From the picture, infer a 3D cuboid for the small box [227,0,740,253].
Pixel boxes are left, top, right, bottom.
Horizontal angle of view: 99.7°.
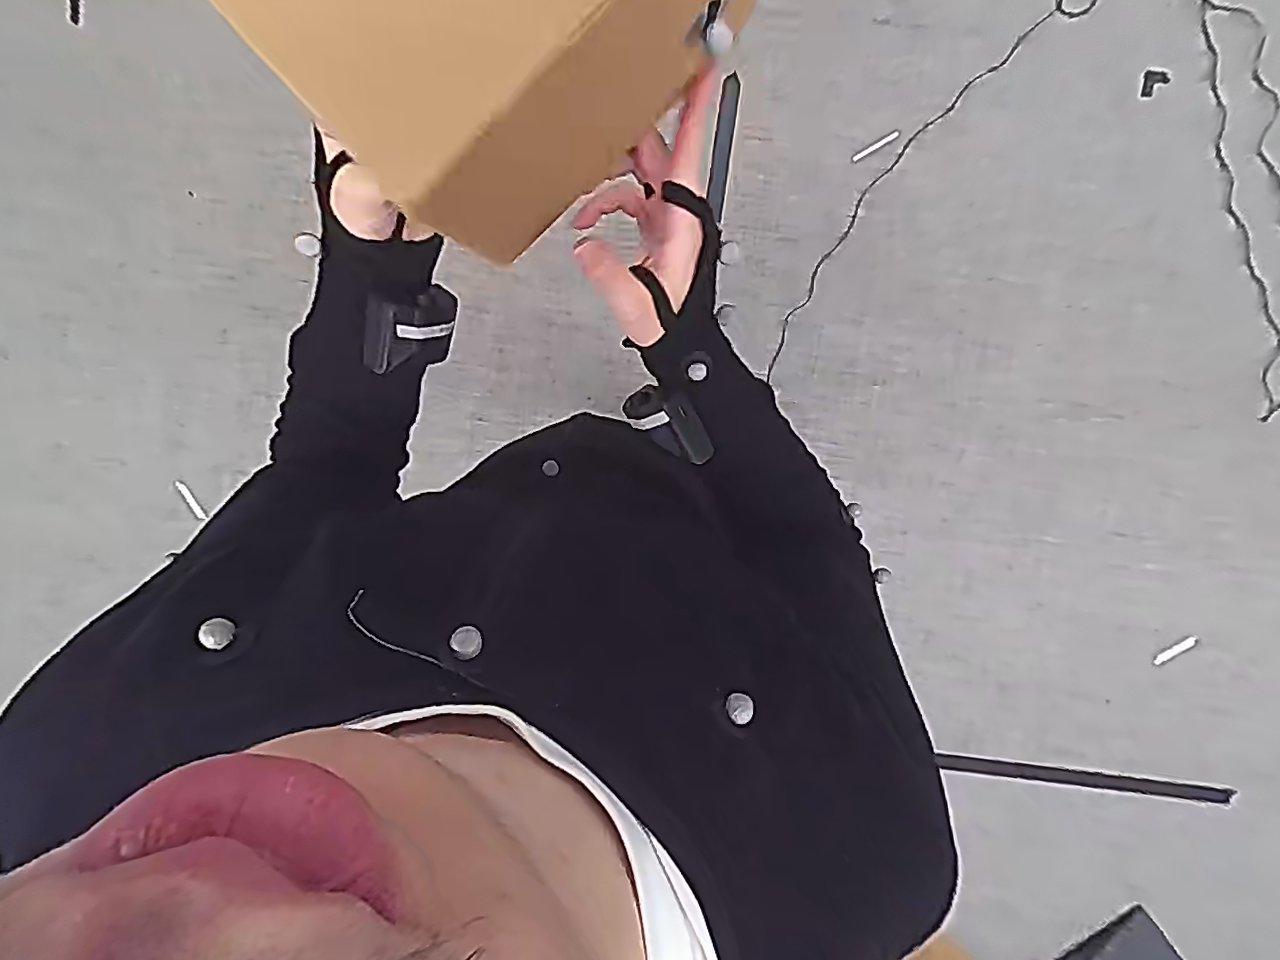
[{"bbox_3d":[-0.061,-0.219,0.215,0.179,0.176,0.168,-43,104,10],"label":"small box"}]
